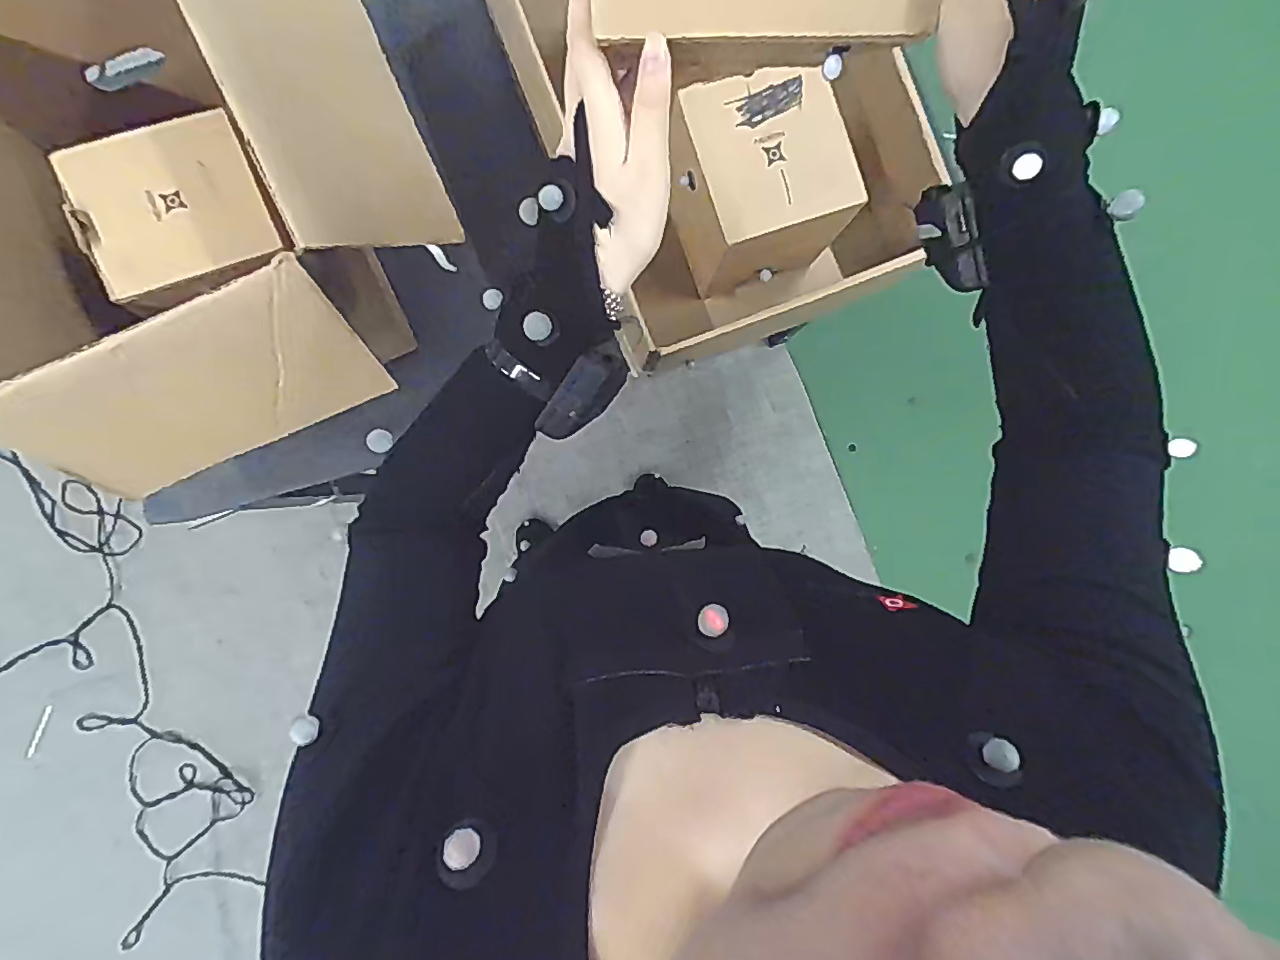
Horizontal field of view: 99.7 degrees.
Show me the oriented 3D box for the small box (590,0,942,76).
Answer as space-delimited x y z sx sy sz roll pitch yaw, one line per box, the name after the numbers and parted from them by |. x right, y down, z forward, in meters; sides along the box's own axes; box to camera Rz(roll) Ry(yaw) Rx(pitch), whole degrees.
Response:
0.056 -0.332 0.297 0.179 0.176 0.168 -4 123 -3 | small box
